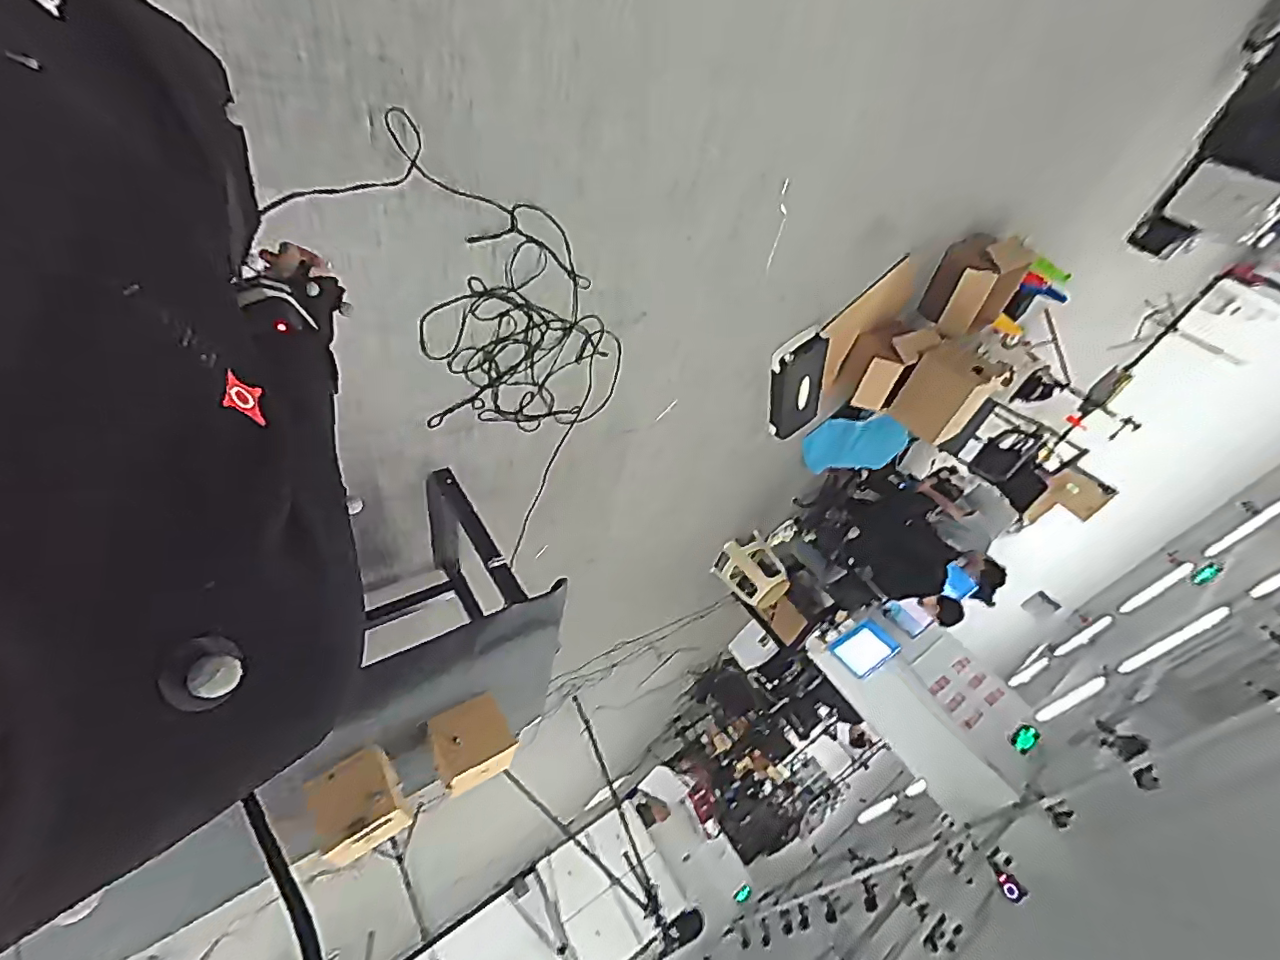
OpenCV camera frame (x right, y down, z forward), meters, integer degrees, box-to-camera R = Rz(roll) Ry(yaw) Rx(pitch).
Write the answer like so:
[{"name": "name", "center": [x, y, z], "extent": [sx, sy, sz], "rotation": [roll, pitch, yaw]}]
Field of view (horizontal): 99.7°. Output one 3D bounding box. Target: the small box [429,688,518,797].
[{"name": "small box", "center": [-0.452, 0.698, 1.449], "extent": [0.179, 0.176, 0.168], "rotation": [-17, 144, -36]}]
